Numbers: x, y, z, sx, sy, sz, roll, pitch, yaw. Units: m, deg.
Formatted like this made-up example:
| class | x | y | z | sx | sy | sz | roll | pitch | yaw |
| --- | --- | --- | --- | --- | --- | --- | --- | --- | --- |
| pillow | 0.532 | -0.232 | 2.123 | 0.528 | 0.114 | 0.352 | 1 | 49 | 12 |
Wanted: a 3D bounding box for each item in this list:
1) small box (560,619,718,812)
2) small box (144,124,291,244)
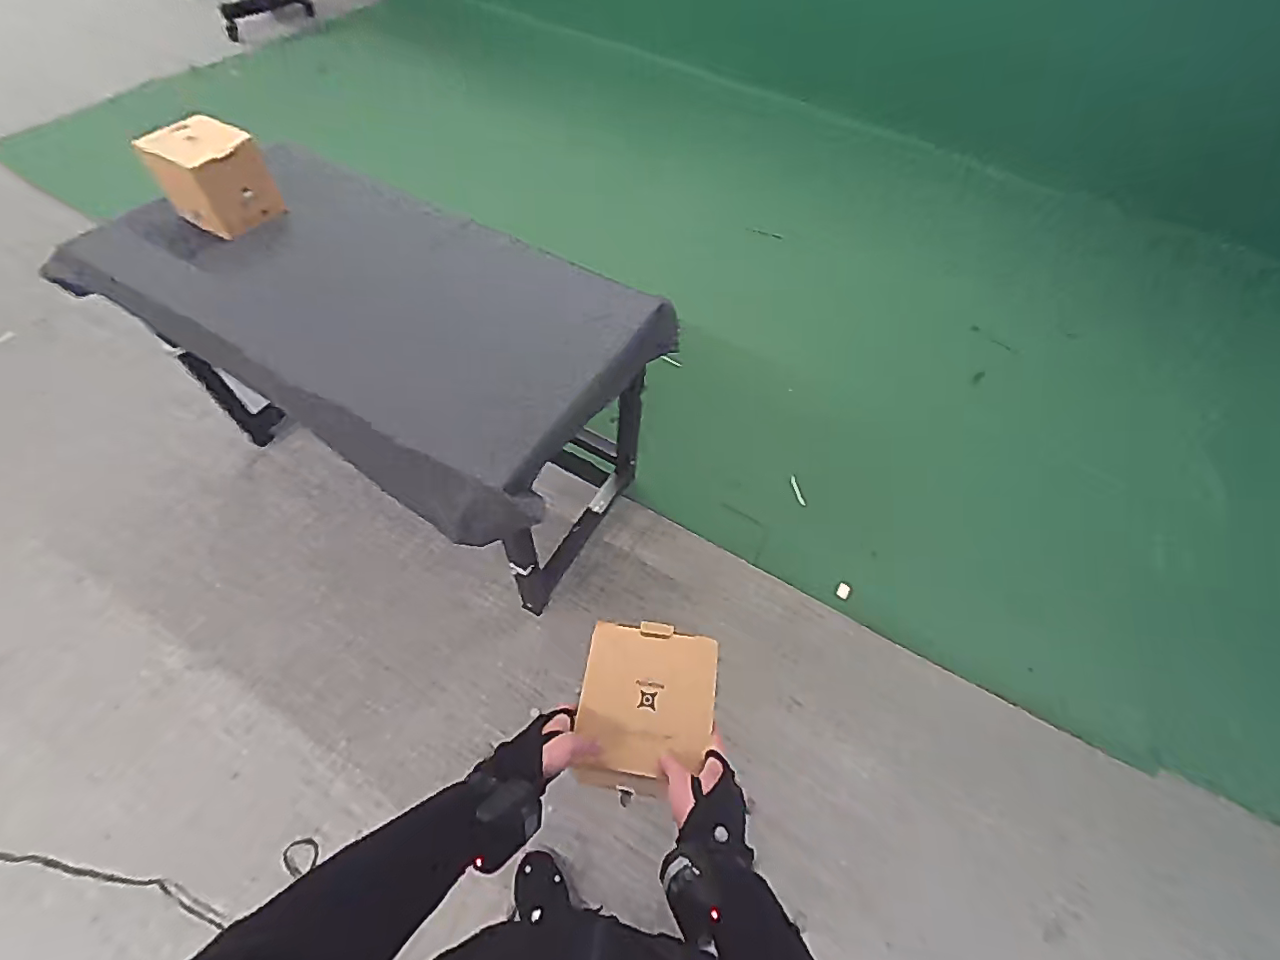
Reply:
| class | x | y | z | sx | sy | sz | roll | pitch | yaw |
| --- | --- | --- | --- | --- | --- | --- | --- | --- | --- |
| small box | 0.003 | 0.310 | 0.710 | 0.168 | 0.176 | 0.179 | 9 | 52 | 7 |
| small box | -0.964 | -0.678 | 1.254 | 0.179 | 0.176 | 0.168 | 27 | 59 | 12 |
